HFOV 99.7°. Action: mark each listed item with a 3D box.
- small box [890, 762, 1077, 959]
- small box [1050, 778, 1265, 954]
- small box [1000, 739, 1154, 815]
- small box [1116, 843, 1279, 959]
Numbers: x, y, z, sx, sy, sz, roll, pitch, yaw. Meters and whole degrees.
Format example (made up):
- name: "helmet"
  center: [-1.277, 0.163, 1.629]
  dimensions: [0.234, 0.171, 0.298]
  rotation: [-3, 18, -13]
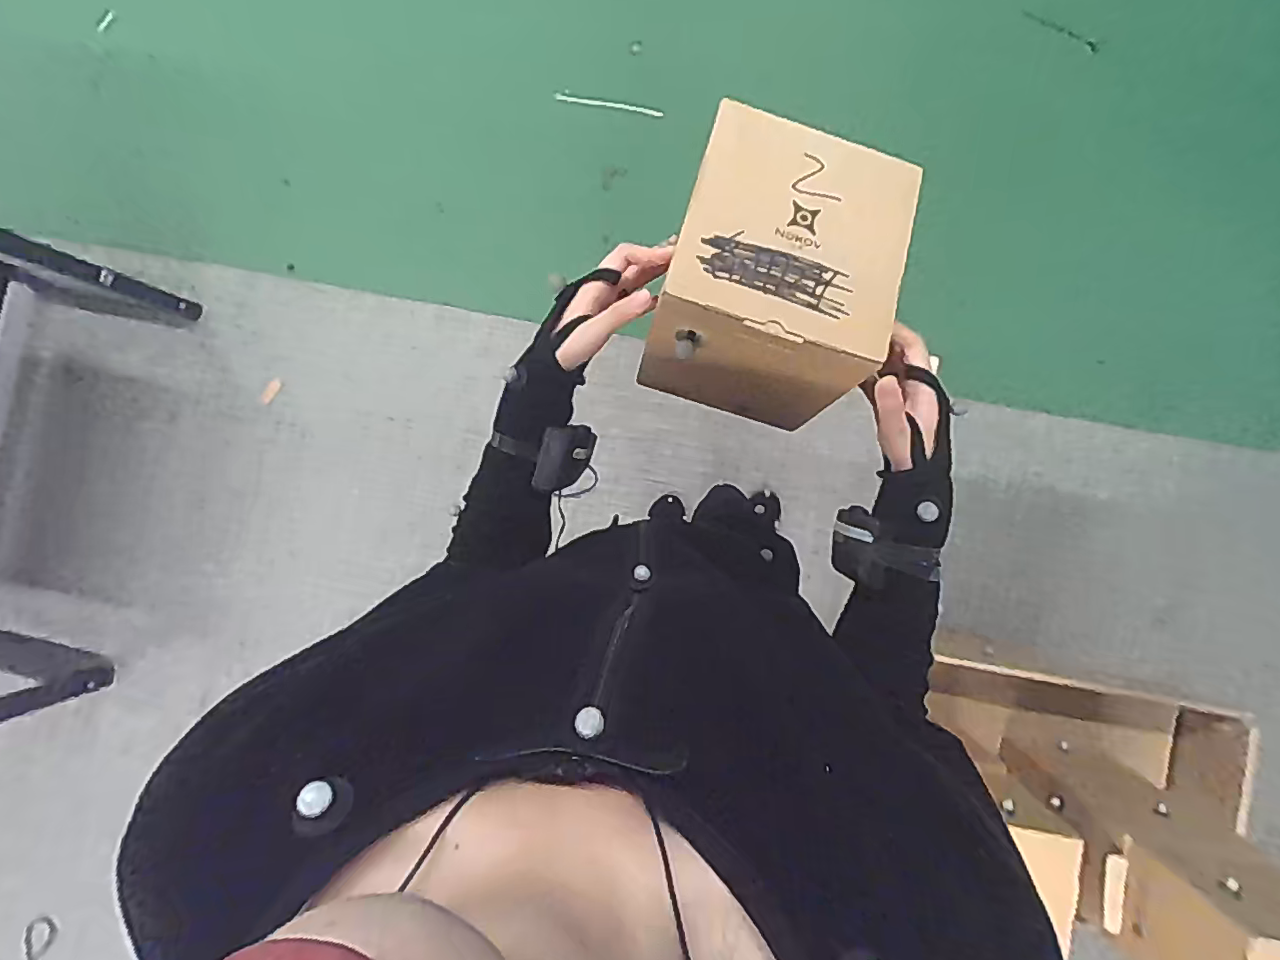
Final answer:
- name: "small box"
  center: [0.500, 0.554, 0.815]
  dimensions: [0.179, 0.176, 0.168]
  rotation: [8, 89, 4]
- name: "small box"
  center: [0.736, 0.567, 0.796]
  dimensions: [0.179, 0.176, 0.168]
  rotation: [5, 88, 7]
- name: "small box"
  center: [0.762, 0.582, 0.957]
  dimensions: [0.179, 0.176, 0.168]
  rotation: [6, 89, 9]
- name: "small box"
  center: [0.715, 0.568, 0.634]
  dimensions: [0.179, 0.176, 0.168]
  rotation: [8, 89, 7]
